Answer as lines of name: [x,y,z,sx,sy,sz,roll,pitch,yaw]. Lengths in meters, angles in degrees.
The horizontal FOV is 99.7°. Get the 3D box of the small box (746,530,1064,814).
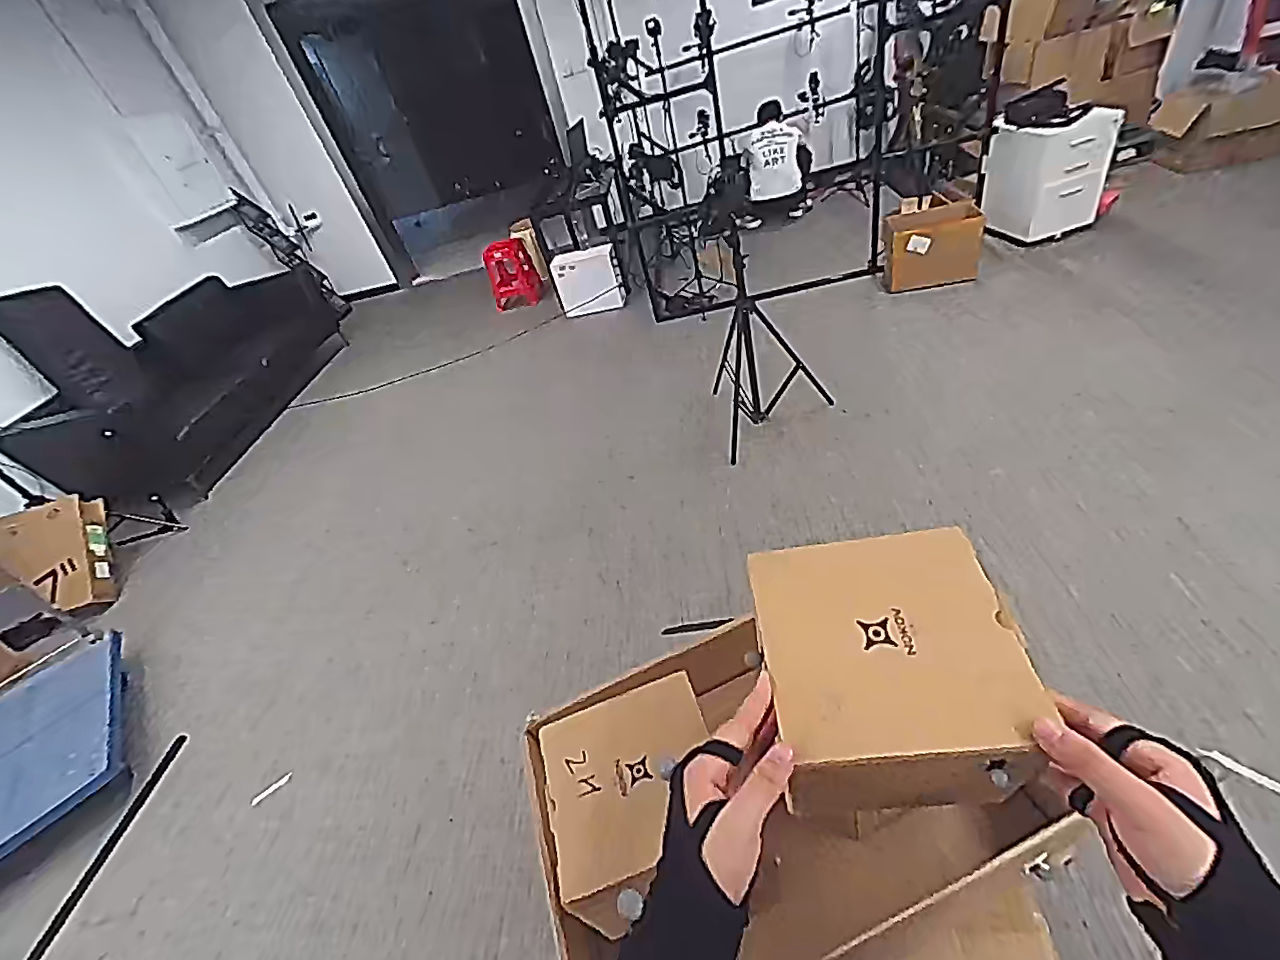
small box: [0.193,0.166,0.453,0.179,0.176,0.168,-9,47,8]

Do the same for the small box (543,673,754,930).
small box: [0.013,0.347,0.586,0.179,0.176,0.168,-21,40,-3]
